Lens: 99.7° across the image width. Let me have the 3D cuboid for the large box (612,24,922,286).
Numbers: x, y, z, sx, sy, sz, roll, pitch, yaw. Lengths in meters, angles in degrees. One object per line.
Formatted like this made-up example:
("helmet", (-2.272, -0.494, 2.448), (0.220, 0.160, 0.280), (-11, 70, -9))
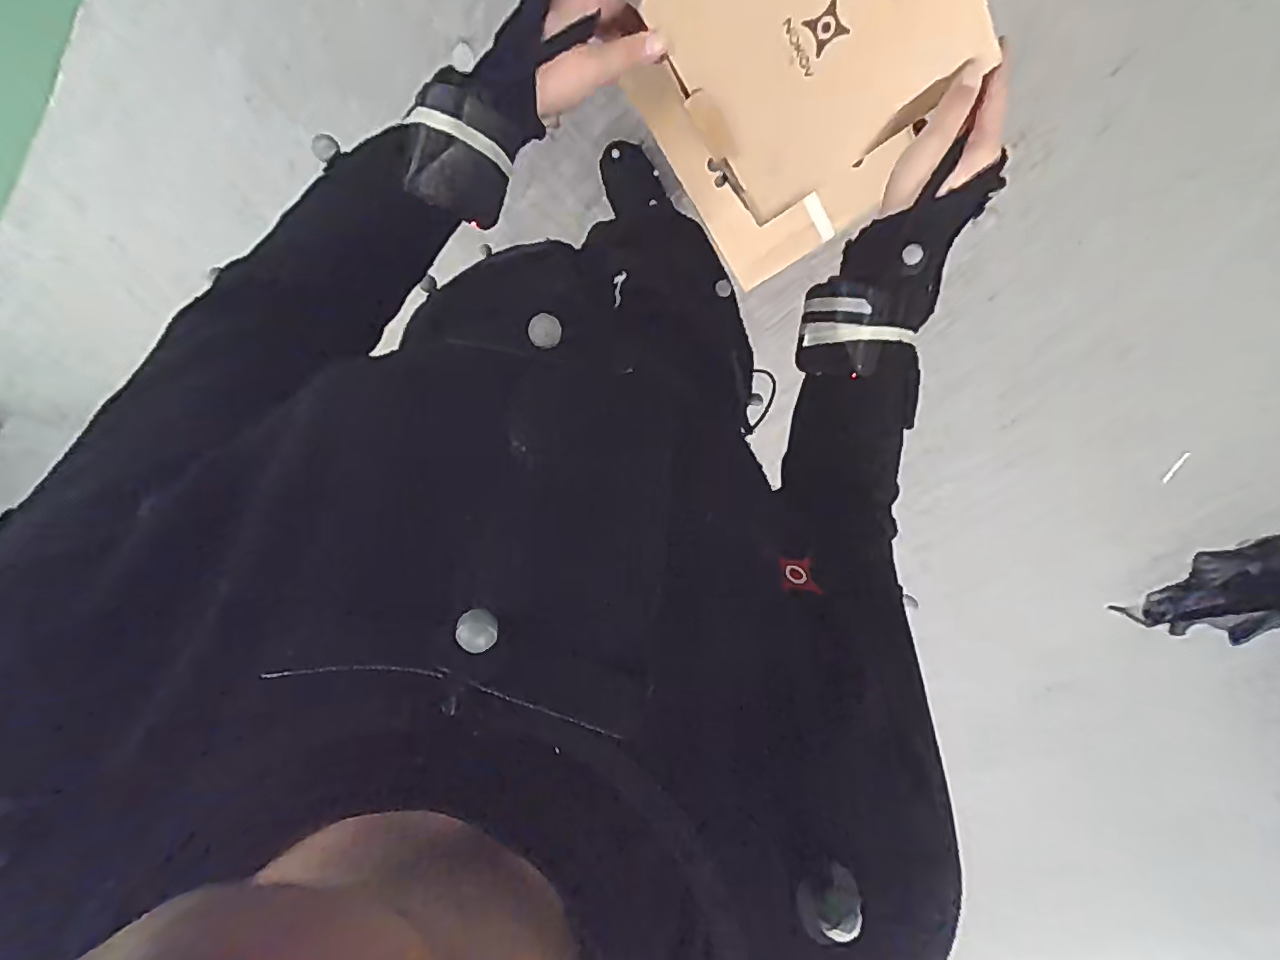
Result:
("large box", (0.201, -0.622, 0.920), (0.320, 0.320, 0.408), (-29, 118, 22))

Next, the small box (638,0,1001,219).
("small box", (0.119, -0.338, 0.401), (0.179, 0.176, 0.168), (-29, 124, 25))
